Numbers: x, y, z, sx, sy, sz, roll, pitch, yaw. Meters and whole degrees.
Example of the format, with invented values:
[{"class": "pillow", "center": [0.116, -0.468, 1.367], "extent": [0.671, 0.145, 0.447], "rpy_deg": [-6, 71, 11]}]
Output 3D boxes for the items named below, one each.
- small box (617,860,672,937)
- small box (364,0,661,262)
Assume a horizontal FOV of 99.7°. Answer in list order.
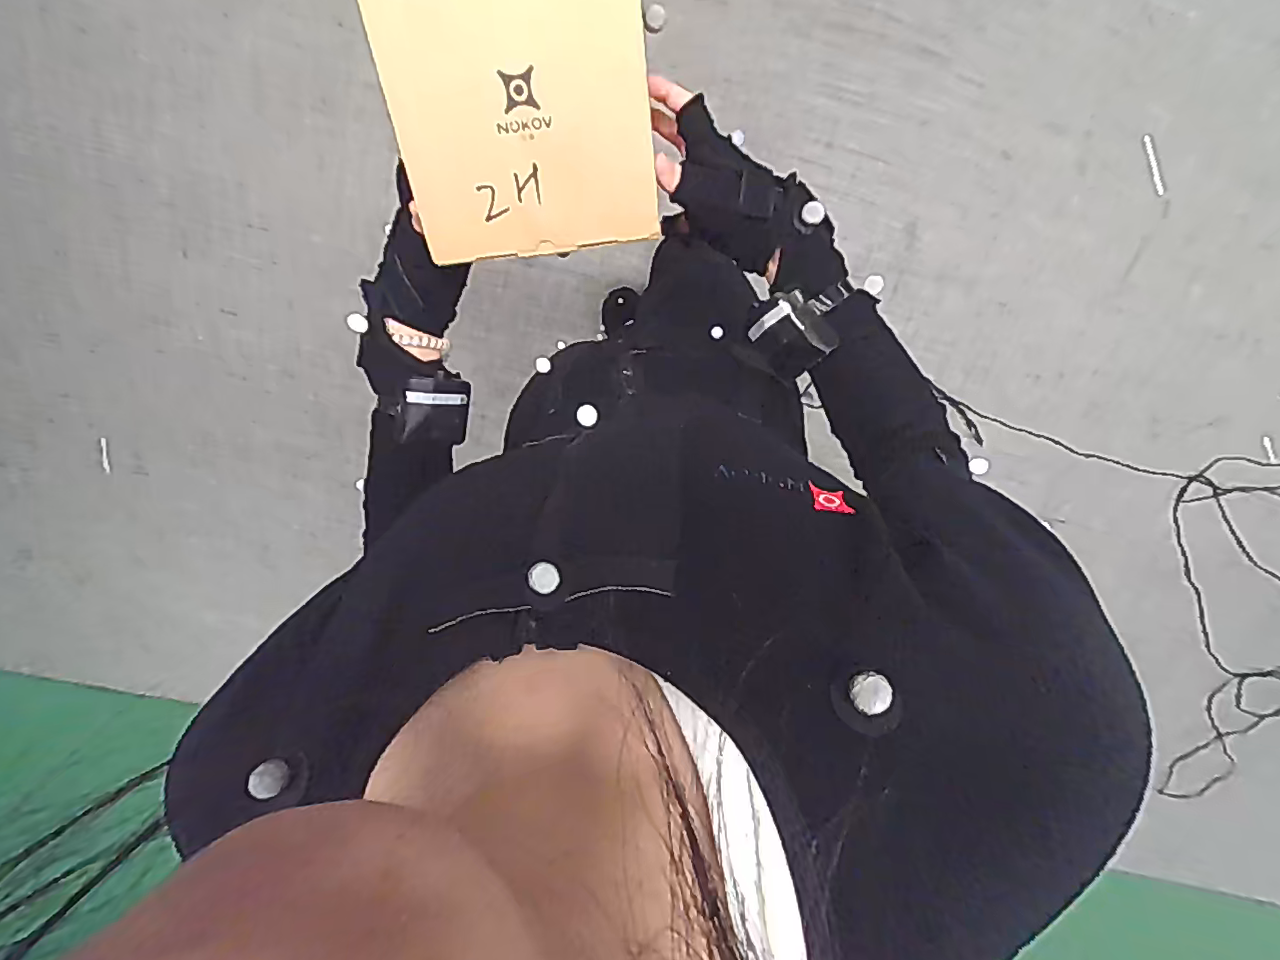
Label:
[{"class": "small box", "center": [0.015, 1.596, 2.067], "extent": [0.179, 0.176, 0.168], "rpy_deg": [10, 111, -5]}, {"class": "small box", "center": [-0.077, -0.274, 0.407], "extent": [0.168, 0.176, 0.179], "rpy_deg": [-6, 120, 1]}]
